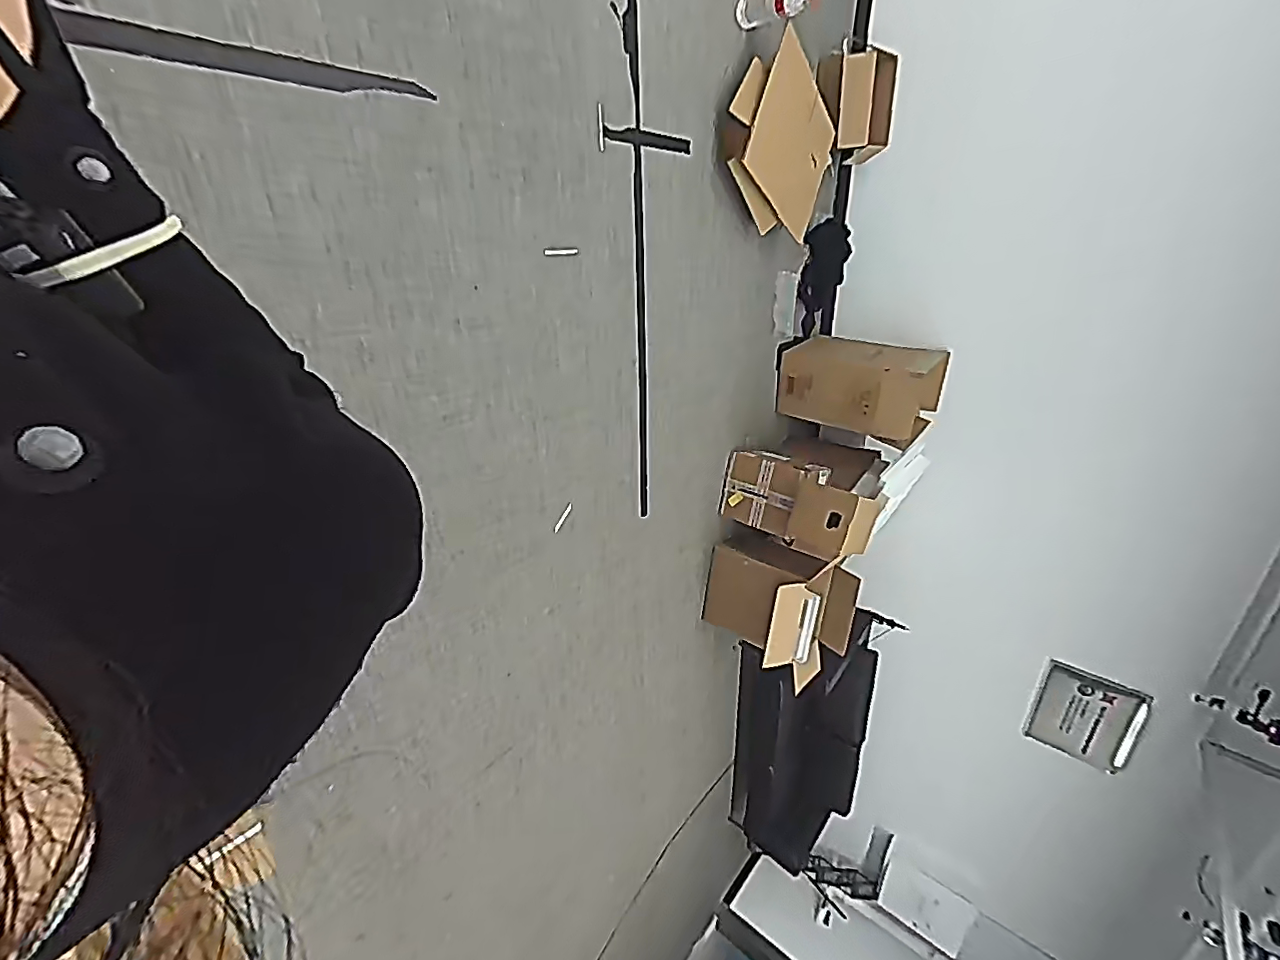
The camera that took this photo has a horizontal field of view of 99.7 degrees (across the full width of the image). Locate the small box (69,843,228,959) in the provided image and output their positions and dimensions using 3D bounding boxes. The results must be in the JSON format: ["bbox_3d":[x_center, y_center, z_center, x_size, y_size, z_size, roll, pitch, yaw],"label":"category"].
[{"bbox_3d":[-0.957,0.868,1.055,0.179,0.176,0.168,-27,124,-43],"label":"small box"}]
